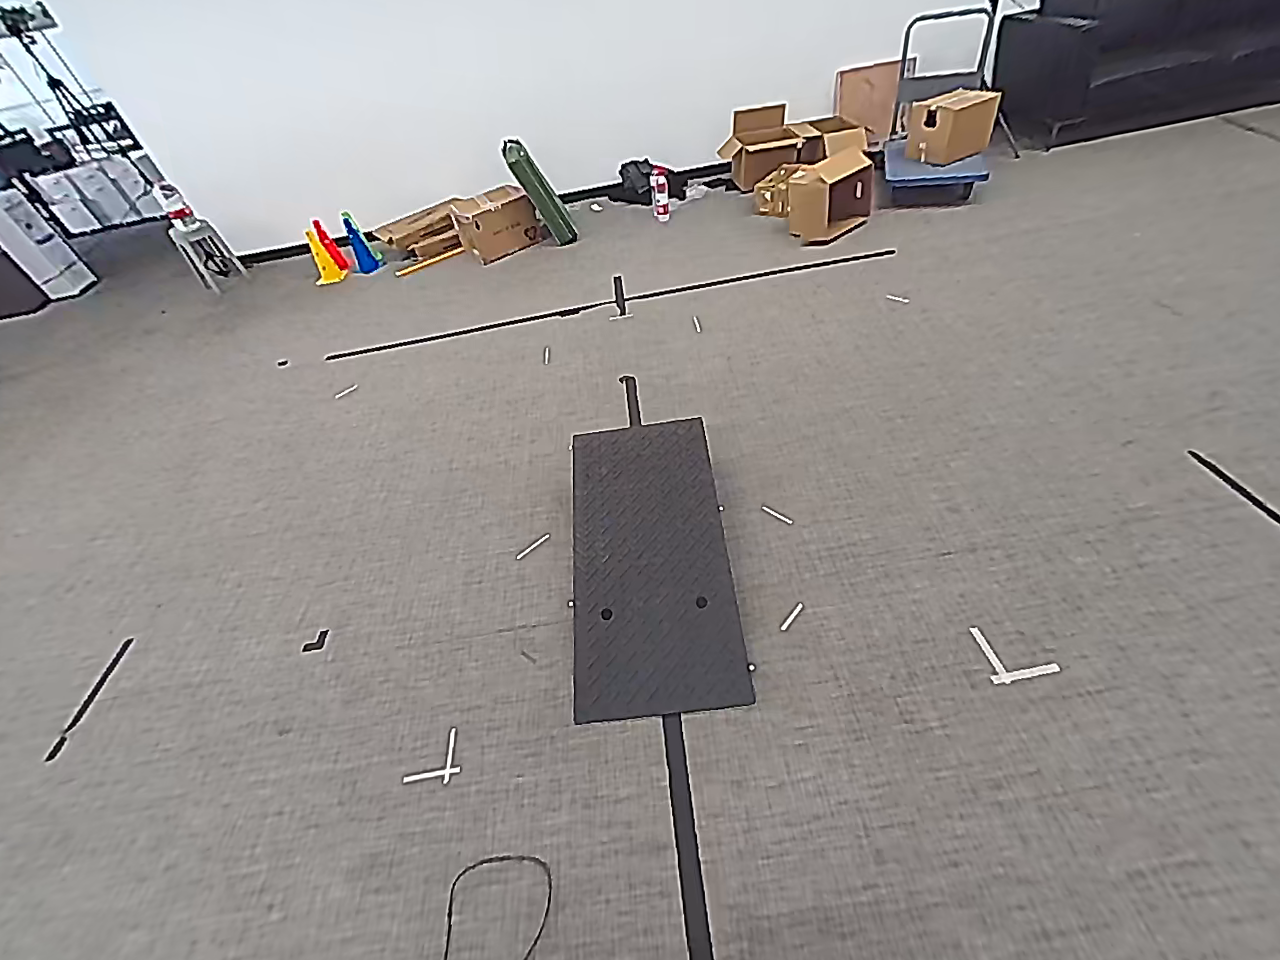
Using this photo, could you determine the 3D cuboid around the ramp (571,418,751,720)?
[{"bbox_3d":[0.024,0.211,1.732,0.509,0.206,0.991,-8,45,2],"label":"ramp"}]
